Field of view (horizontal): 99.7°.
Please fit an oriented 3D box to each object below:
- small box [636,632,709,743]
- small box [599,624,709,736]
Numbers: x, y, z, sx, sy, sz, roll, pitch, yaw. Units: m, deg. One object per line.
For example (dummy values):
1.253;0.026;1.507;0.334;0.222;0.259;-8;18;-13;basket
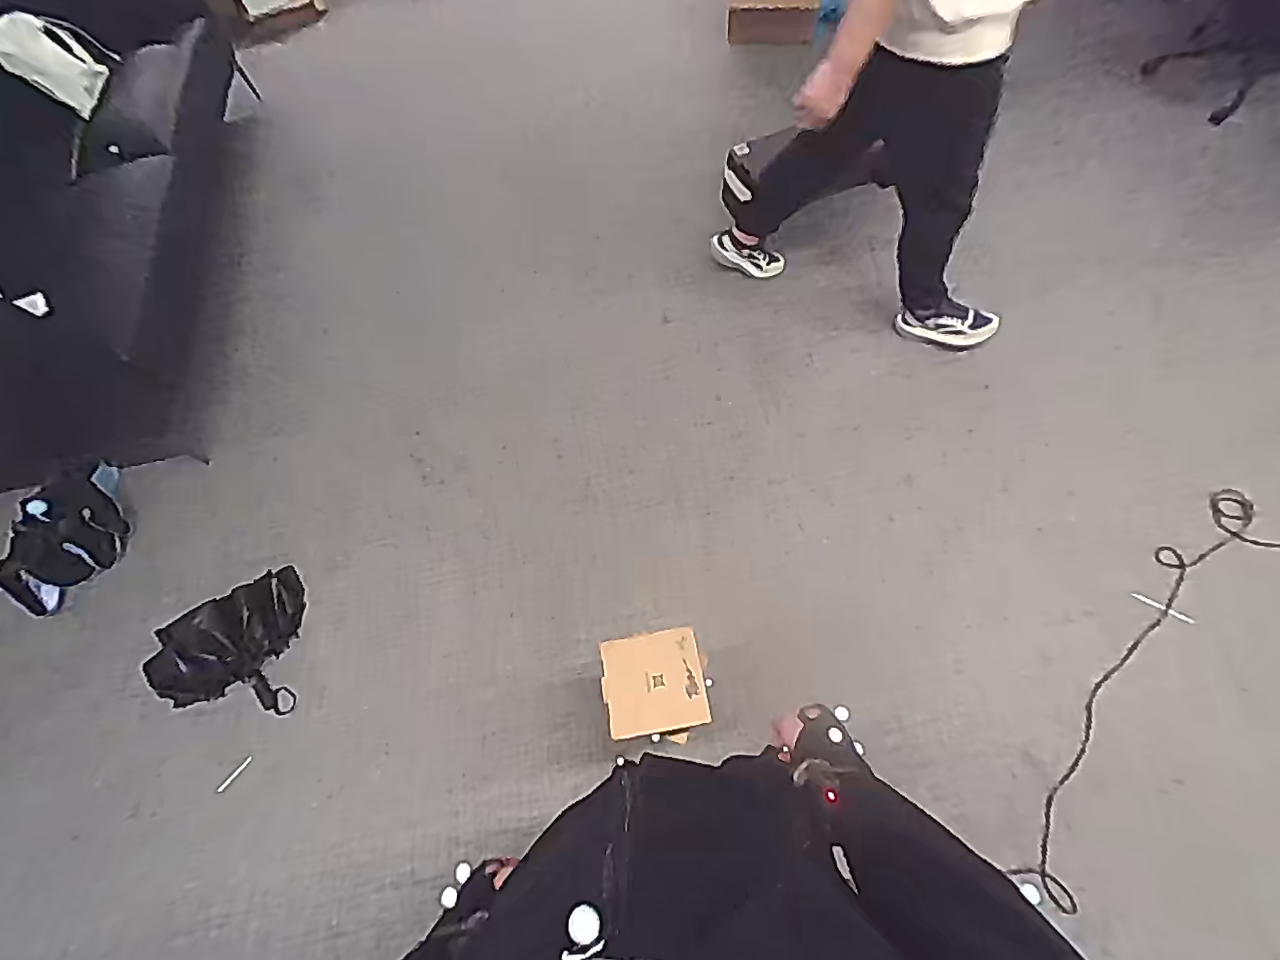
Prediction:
0.045;0.448;1.169;0.168;0.176;0.179;14;69;12;small box
0.031;0.382;1.020;0.179;0.176;0.168;-11;65;2;small box
